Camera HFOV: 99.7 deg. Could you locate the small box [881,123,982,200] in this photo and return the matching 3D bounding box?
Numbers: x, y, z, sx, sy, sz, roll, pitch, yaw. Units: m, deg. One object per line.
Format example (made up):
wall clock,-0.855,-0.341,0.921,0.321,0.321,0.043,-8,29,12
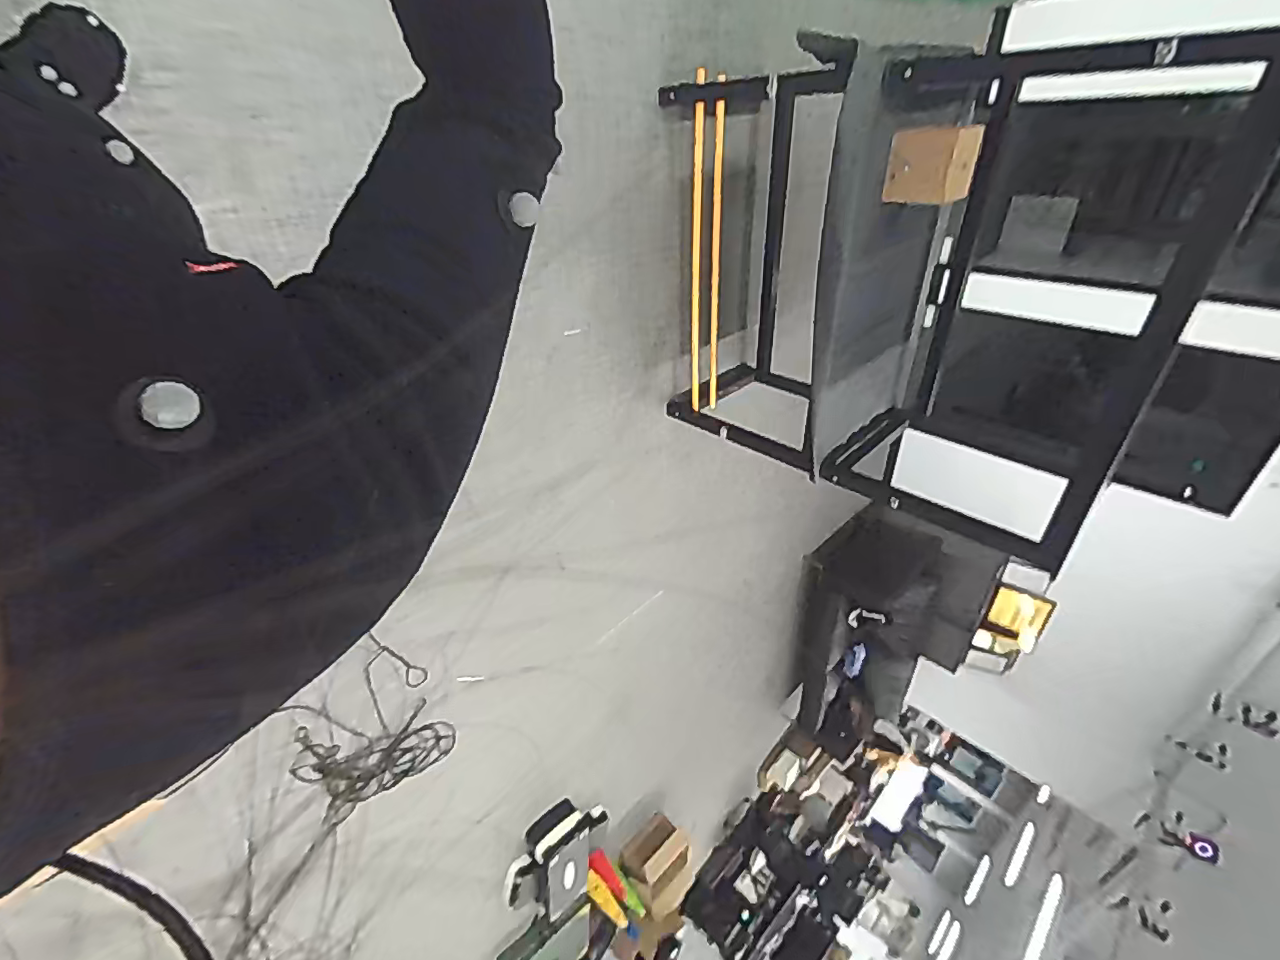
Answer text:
small box,0.780,-0.862,1.457,0.179,0.176,0.168,-31,133,-34
